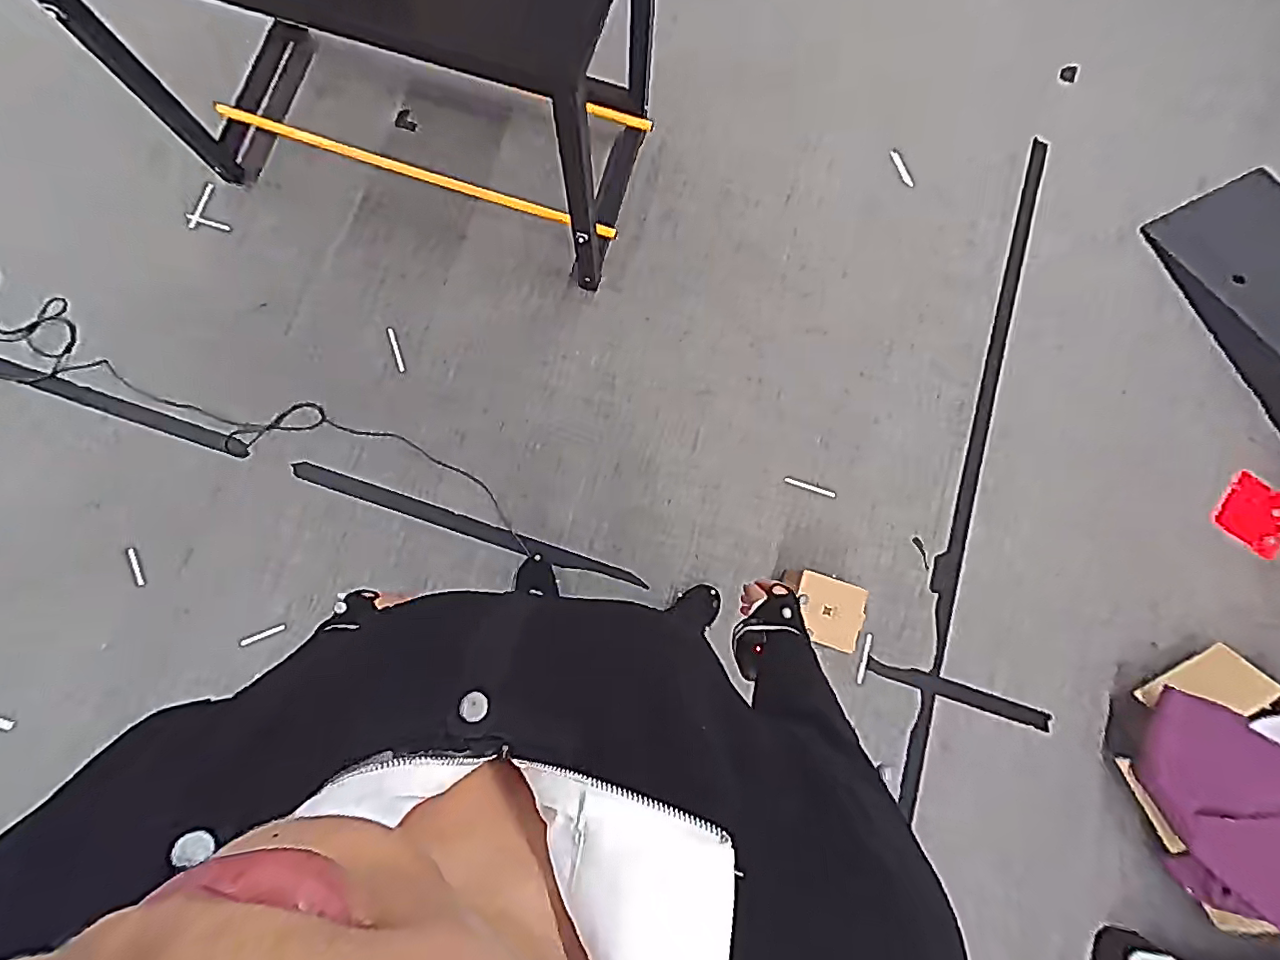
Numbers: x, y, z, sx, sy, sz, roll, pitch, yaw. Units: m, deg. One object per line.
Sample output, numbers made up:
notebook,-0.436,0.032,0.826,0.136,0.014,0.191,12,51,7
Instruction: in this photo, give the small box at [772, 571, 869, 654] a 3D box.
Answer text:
small box,0.469,0.342,1.426,0.179,0.176,0.168,17,80,2
